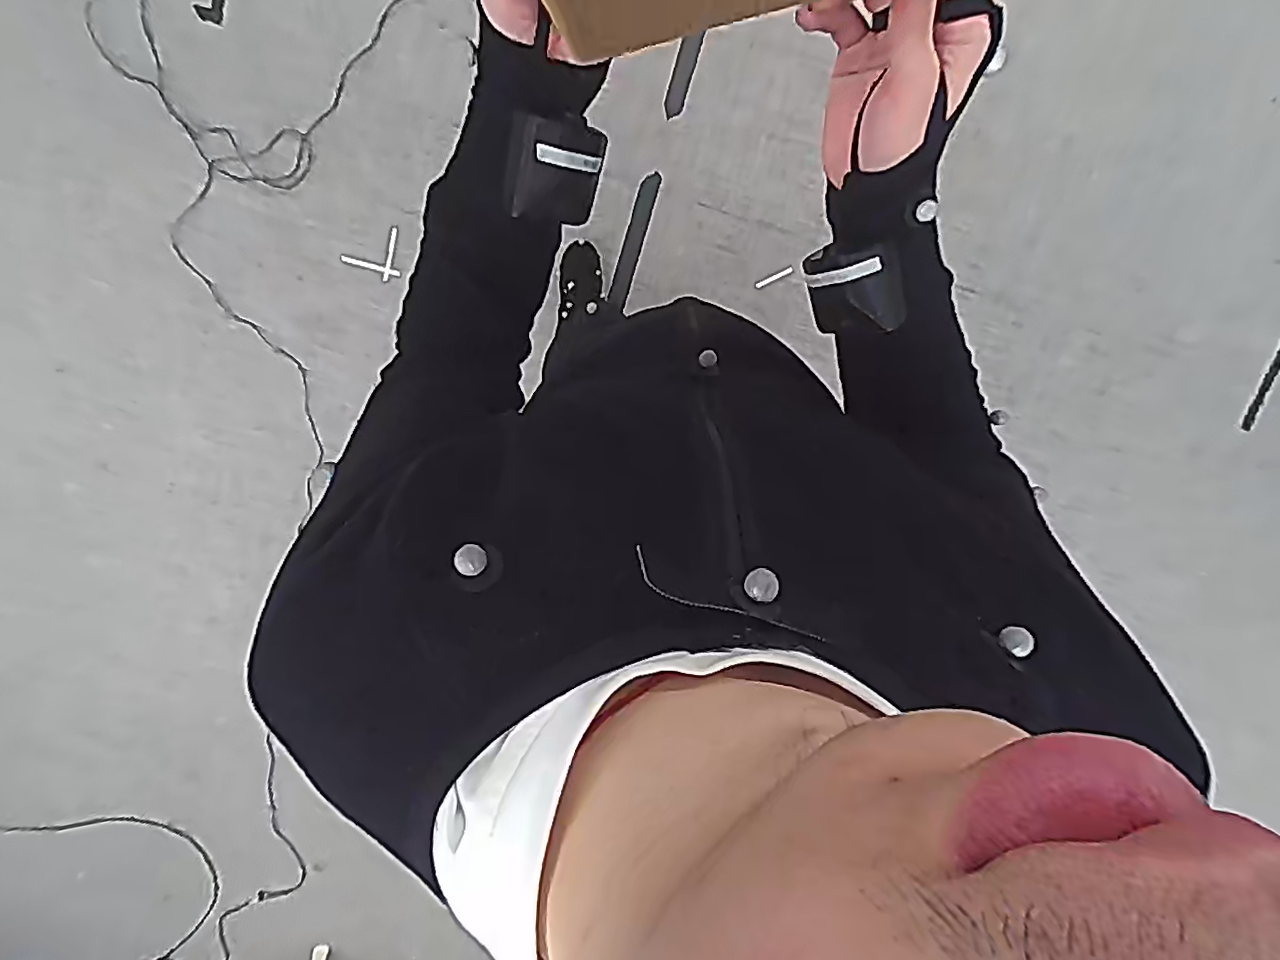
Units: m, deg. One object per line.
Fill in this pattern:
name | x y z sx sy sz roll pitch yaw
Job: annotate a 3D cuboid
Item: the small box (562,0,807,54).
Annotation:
small box | 0.037 -0.268 0.174 0.179 0.176 0.168 -12 121 5
